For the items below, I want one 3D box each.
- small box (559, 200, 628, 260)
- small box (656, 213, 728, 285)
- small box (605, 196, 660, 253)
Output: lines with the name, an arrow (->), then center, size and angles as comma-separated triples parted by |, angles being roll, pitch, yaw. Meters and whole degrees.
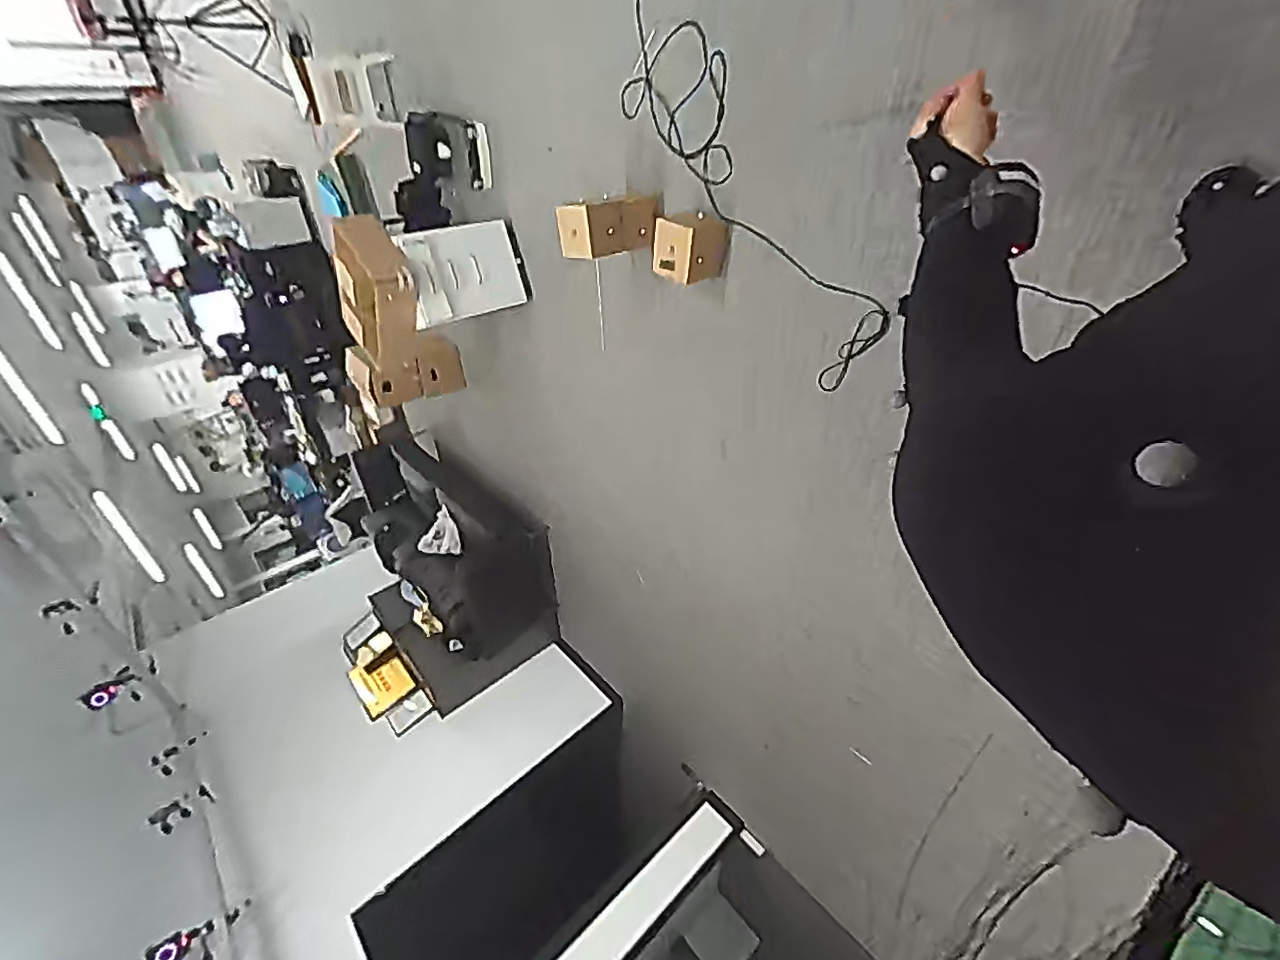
small box -> -0.155, -0.875, 1.884 | 0.179, 0.176, 0.168 | 28, 134, 42
small box -> 0.173, -0.777, 1.809 | 0.168, 0.176, 0.179 | 36, 138, 34
small box -> -0.038, -0.940, 1.980 | 0.179, 0.176, 0.168 | 29, 135, 41
